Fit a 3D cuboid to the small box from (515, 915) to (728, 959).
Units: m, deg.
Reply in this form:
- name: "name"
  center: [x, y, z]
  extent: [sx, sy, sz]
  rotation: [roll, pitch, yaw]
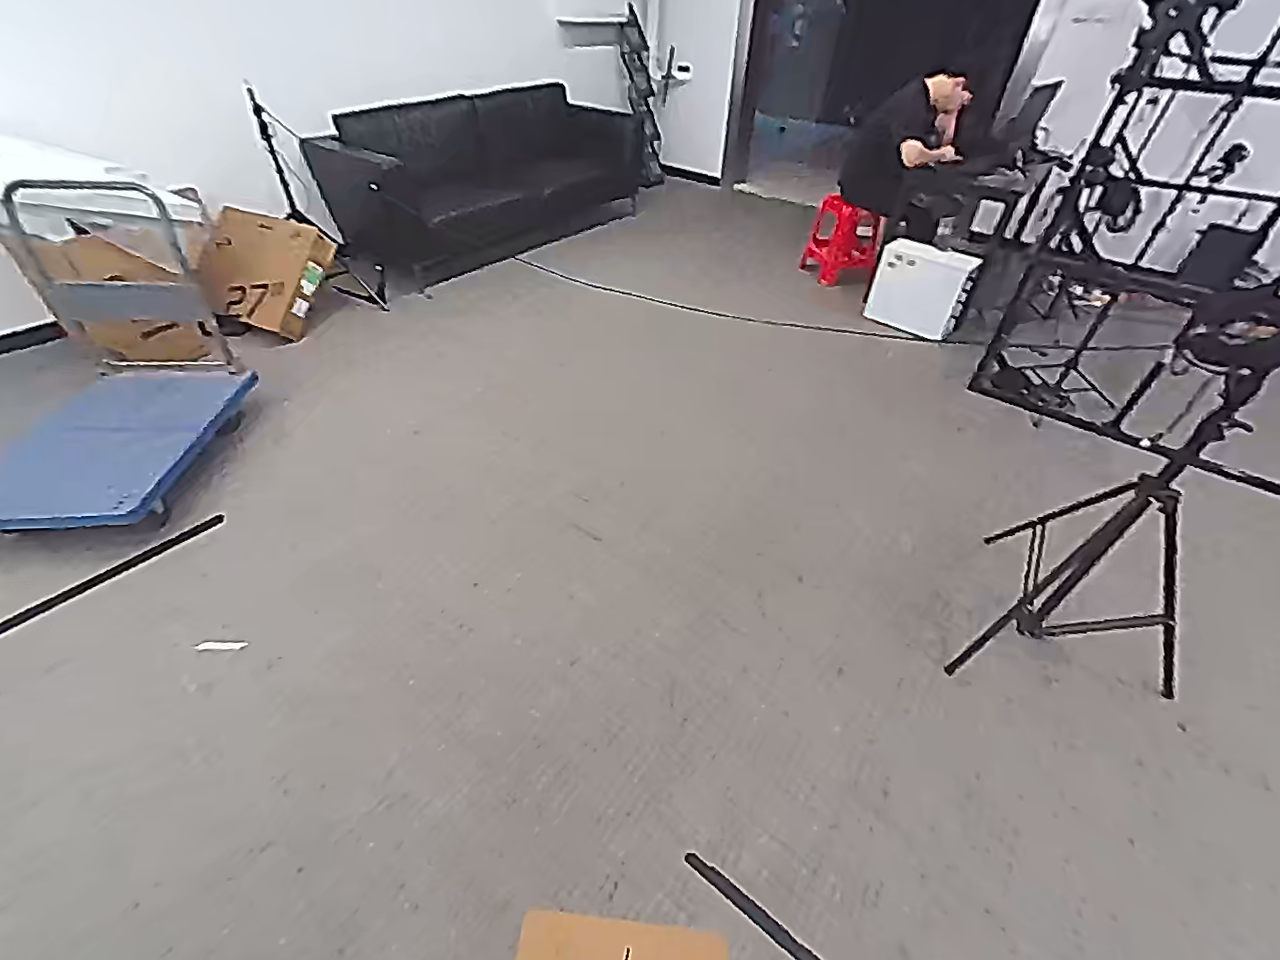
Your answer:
- name: "small box"
  center: [-0.023, 0.458, 0.371]
  extent: [0.168, 0.176, 0.179]
  rotation: [7, 13, -1]
